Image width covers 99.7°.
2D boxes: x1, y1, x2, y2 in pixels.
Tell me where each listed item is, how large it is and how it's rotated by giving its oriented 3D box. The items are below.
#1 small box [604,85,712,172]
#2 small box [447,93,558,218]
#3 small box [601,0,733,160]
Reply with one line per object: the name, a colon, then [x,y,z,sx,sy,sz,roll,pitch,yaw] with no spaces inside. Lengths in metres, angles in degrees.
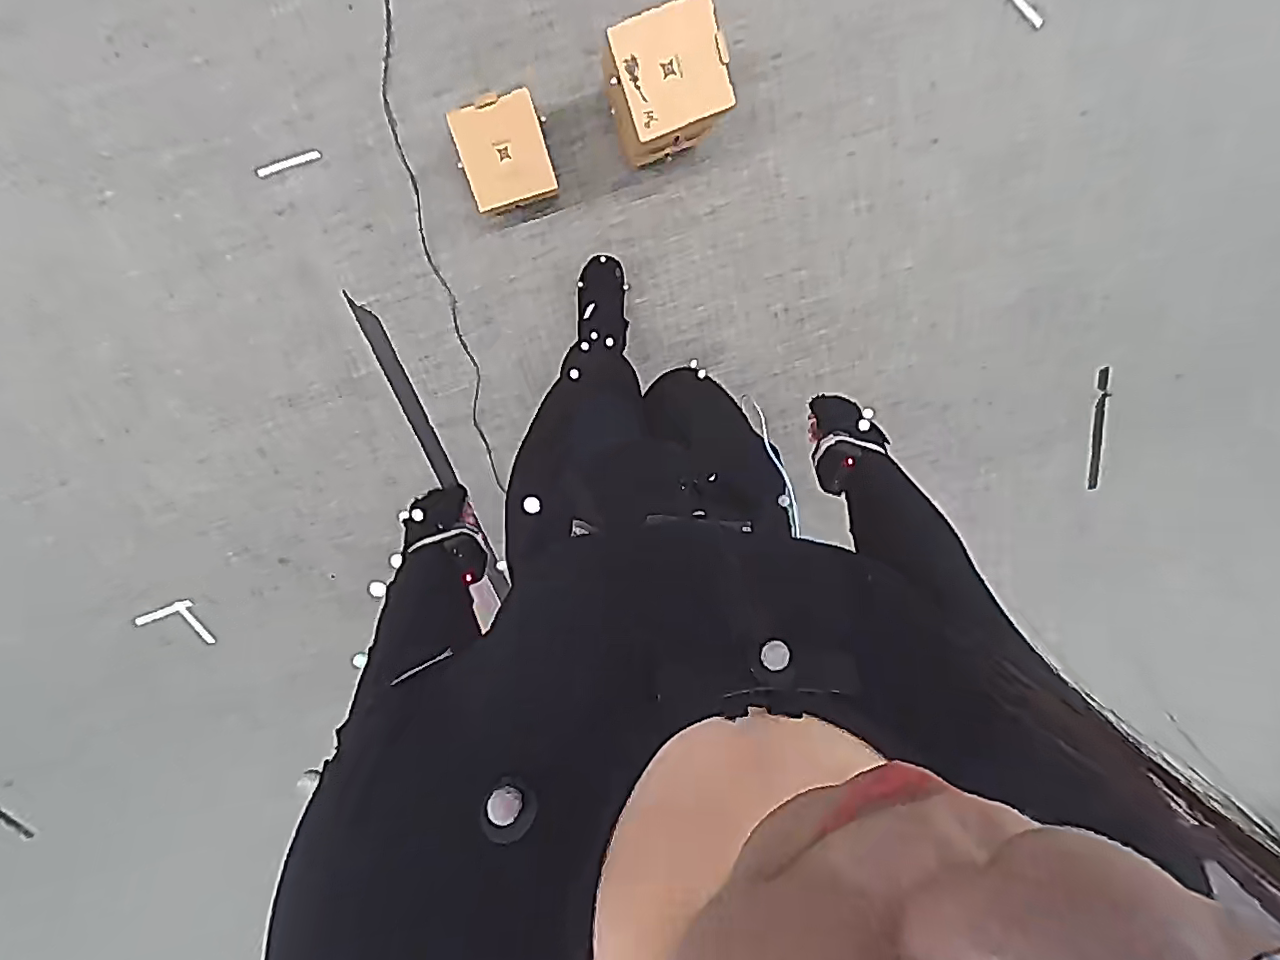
small box: [0.030,-0.759,1.105,0.168,0.176,0.179,-20,115,2]
small box: [-0.273,-0.656,1.115,0.168,0.176,0.179,-16,115,1]
small box: [0.042,-0.692,0.954,0.179,0.176,0.168,-21,114,2]
